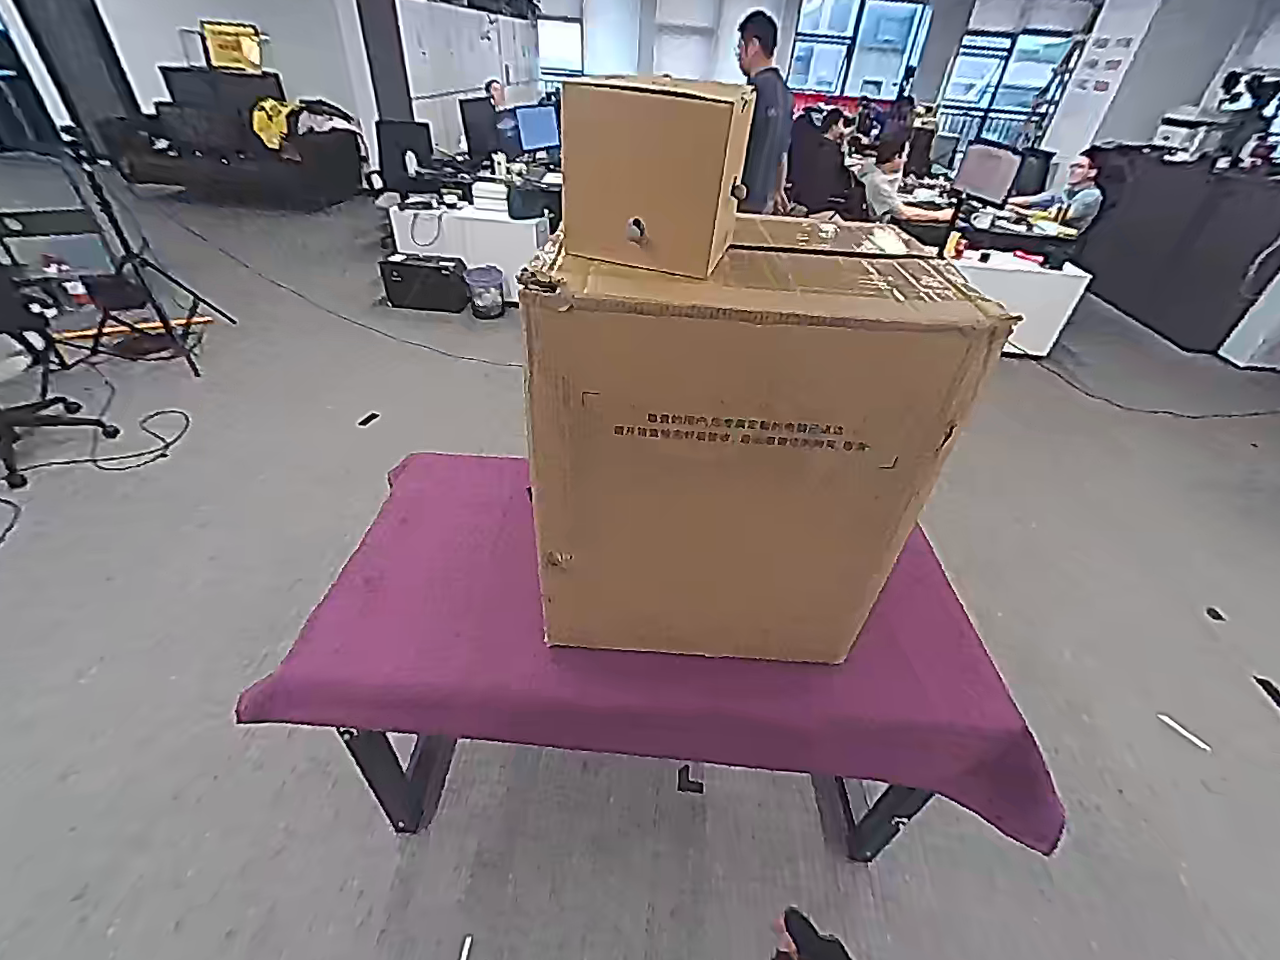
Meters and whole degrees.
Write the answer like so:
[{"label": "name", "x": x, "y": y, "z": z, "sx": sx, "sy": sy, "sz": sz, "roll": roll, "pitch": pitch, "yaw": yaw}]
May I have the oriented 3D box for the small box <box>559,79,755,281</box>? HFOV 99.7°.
[{"label": "small box", "x": 0.019, "y": -0.346, "z": 0.626, "sx": 0.179, "sy": 0.176, "sz": 0.168, "roll": 14, "pitch": 40, "yaw": 10}]
